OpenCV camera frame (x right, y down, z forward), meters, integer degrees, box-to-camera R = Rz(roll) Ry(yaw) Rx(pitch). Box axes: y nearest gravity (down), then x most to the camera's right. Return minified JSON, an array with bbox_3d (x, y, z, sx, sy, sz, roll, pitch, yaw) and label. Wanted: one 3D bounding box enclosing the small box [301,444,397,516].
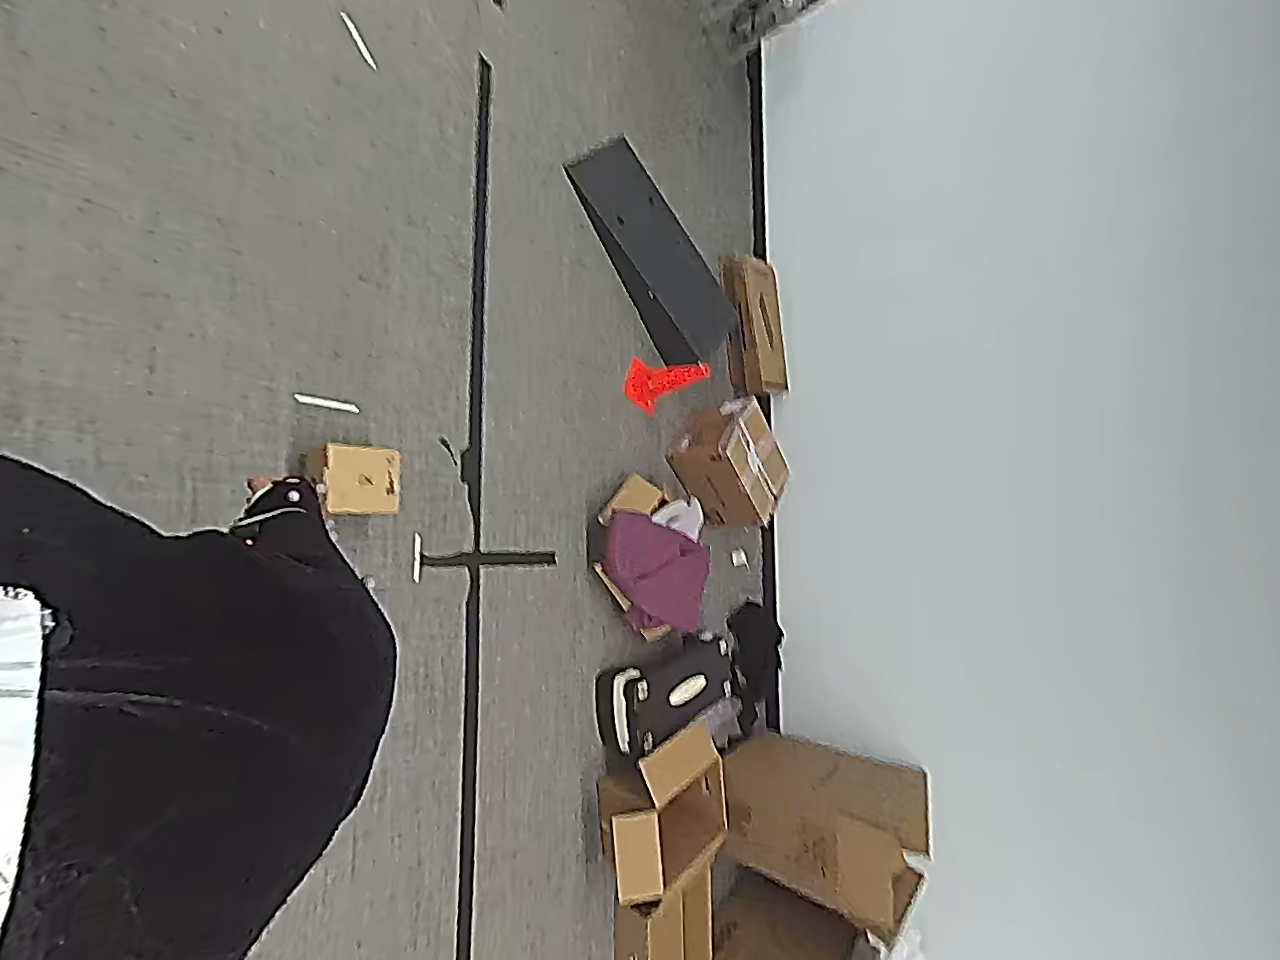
[{"bbox_3d":[-0.752,0.007,1.394,0.179,0.176,0.168,6,81,-48],"label":"small box"}]
